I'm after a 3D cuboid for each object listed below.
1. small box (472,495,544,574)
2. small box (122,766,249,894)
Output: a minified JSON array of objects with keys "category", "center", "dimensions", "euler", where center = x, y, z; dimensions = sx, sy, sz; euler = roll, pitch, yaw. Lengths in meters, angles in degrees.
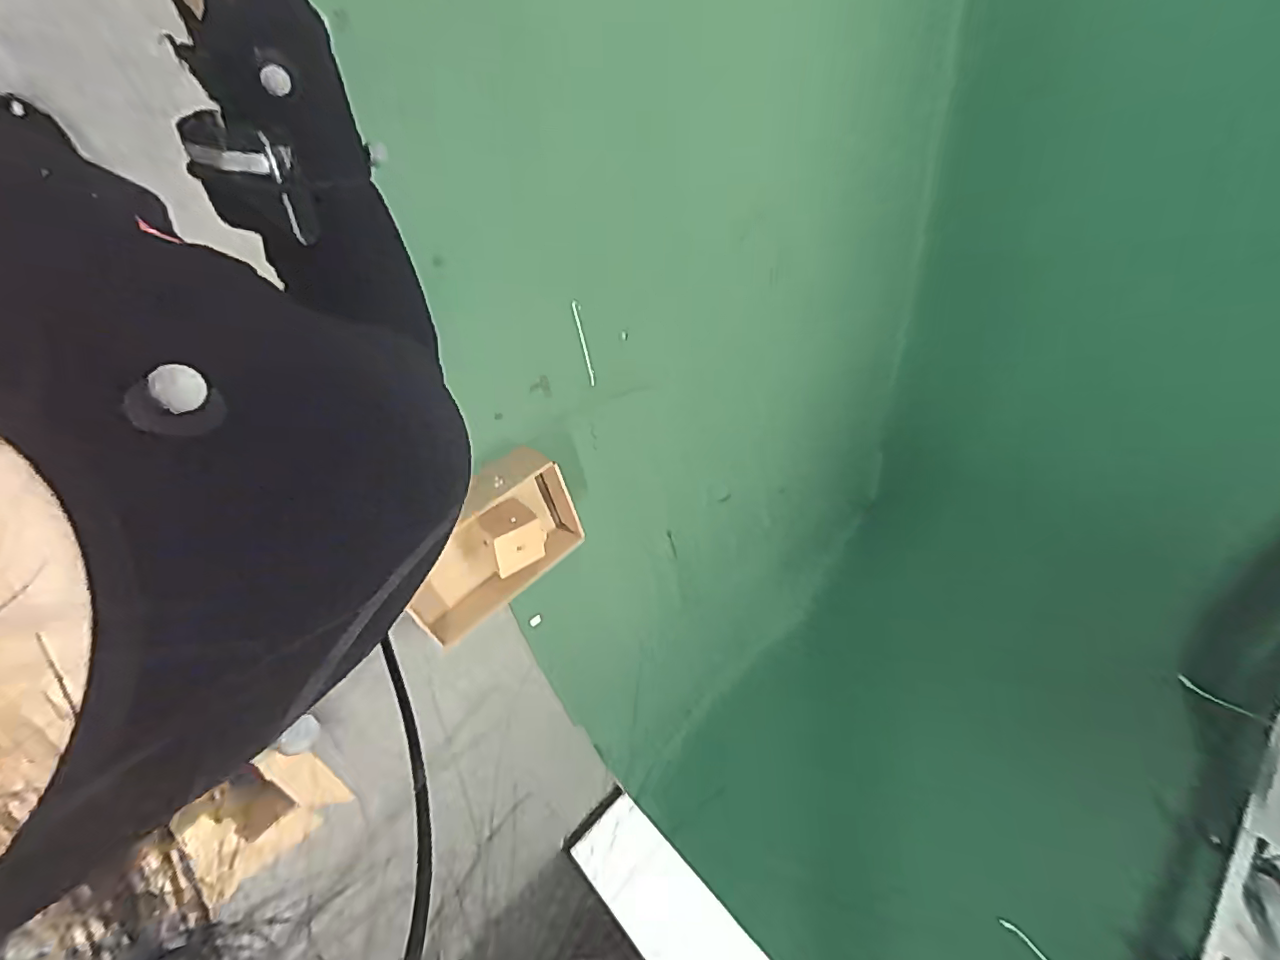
[{"category":"small box","center":[-0.449,0.178,1.826],"dimensions":[0.179,0.176,0.168],"euler":[-27,133,-33]},{"category":"small box","center":[-1.110,0.844,1.319],"dimensions":[0.179,0.176,0.168],"euler":[-35,134,-26]}]
